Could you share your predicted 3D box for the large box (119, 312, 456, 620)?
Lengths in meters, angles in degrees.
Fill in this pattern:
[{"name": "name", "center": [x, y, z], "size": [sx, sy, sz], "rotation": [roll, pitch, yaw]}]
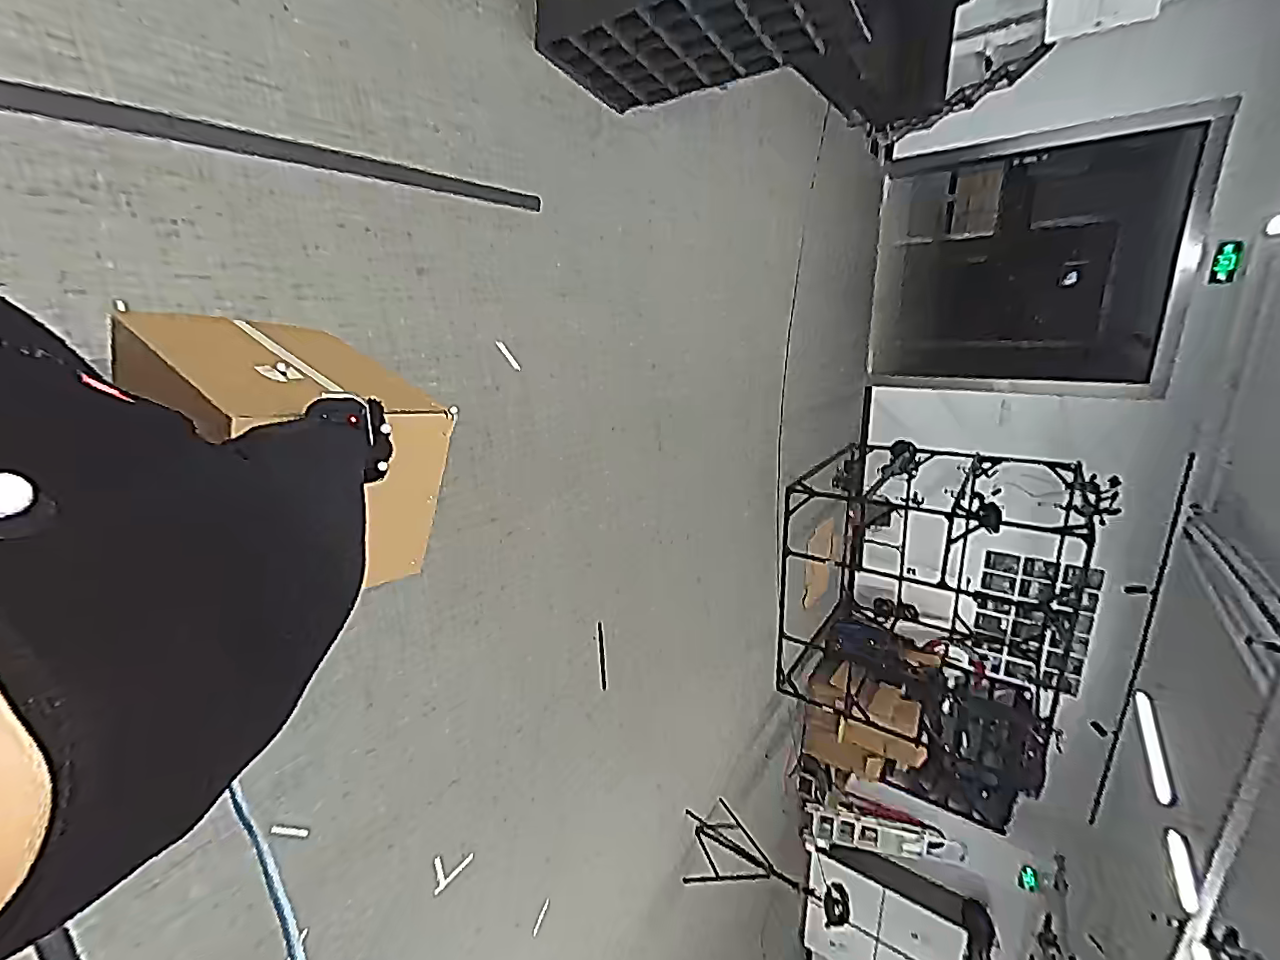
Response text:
[{"name": "large box", "center": [-0.587, -0.043, 0.895], "size": [0.320, 0.408, 0.320], "rotation": [-13, 129, -56]}]
